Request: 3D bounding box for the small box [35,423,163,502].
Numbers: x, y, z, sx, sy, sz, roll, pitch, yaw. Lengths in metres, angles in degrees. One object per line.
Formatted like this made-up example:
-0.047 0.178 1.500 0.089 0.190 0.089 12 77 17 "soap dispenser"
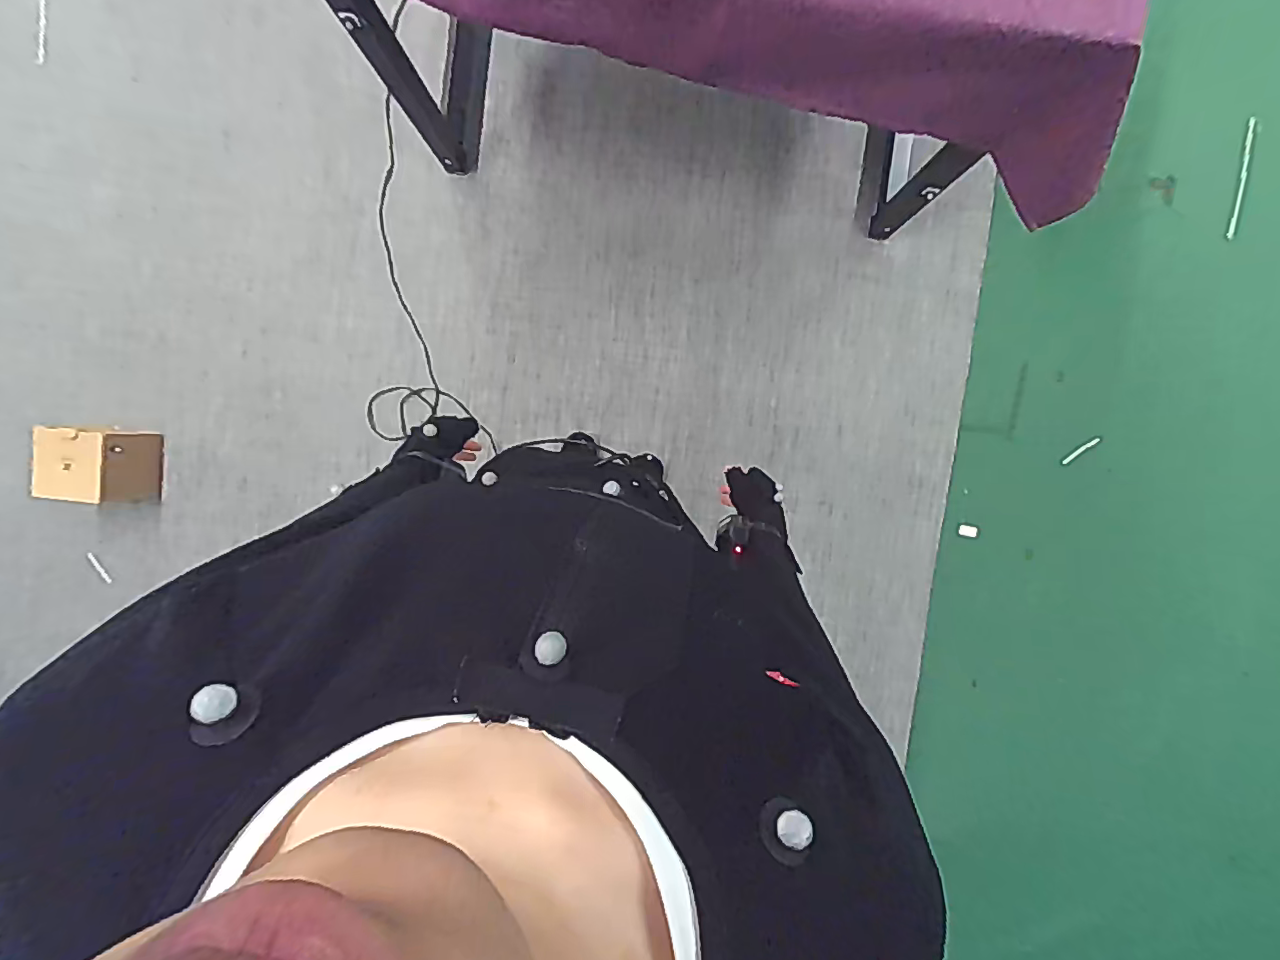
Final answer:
-1.379 -0.047 1.389 0.168 0.176 0.179 7 93 -1 "small box"
